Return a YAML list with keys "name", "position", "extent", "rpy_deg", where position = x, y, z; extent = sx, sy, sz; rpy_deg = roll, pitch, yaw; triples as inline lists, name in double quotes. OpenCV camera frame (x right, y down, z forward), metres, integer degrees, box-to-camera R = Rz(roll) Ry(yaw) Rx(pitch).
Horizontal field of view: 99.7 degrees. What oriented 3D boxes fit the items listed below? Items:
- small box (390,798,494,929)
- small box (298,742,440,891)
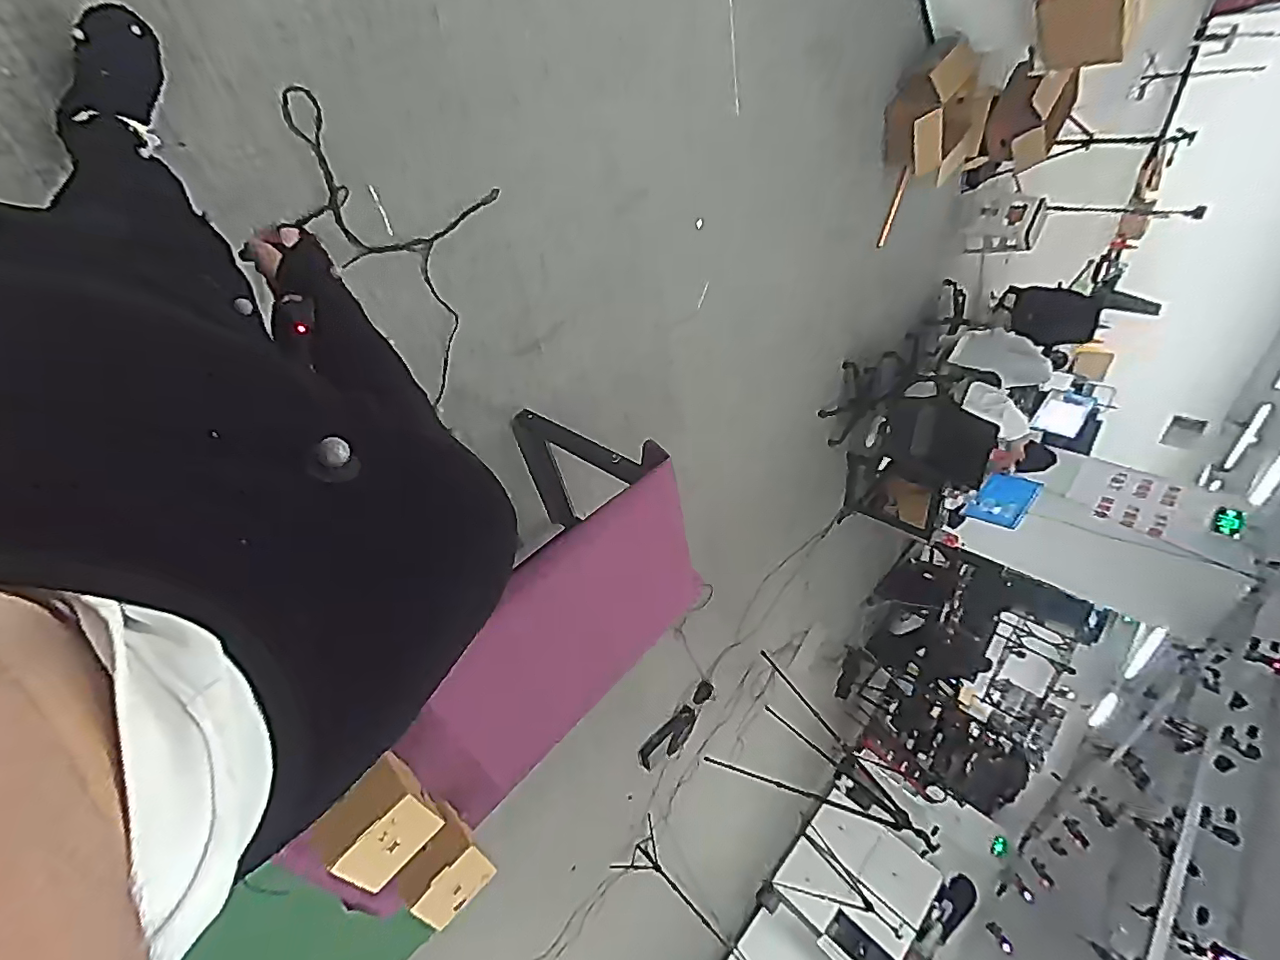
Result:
- name: "small box"
  position: [-0.487, 0.906, 1.294]
  extent: [0.168, 0.176, 0.179]
  rpy_deg: [-38, 132, -29]
- name: "small box"
  position: [-0.545, 0.670, 1.092]
  extent: [0.168, 0.176, 0.179]
  rpy_deg: [-40, 137, -28]
